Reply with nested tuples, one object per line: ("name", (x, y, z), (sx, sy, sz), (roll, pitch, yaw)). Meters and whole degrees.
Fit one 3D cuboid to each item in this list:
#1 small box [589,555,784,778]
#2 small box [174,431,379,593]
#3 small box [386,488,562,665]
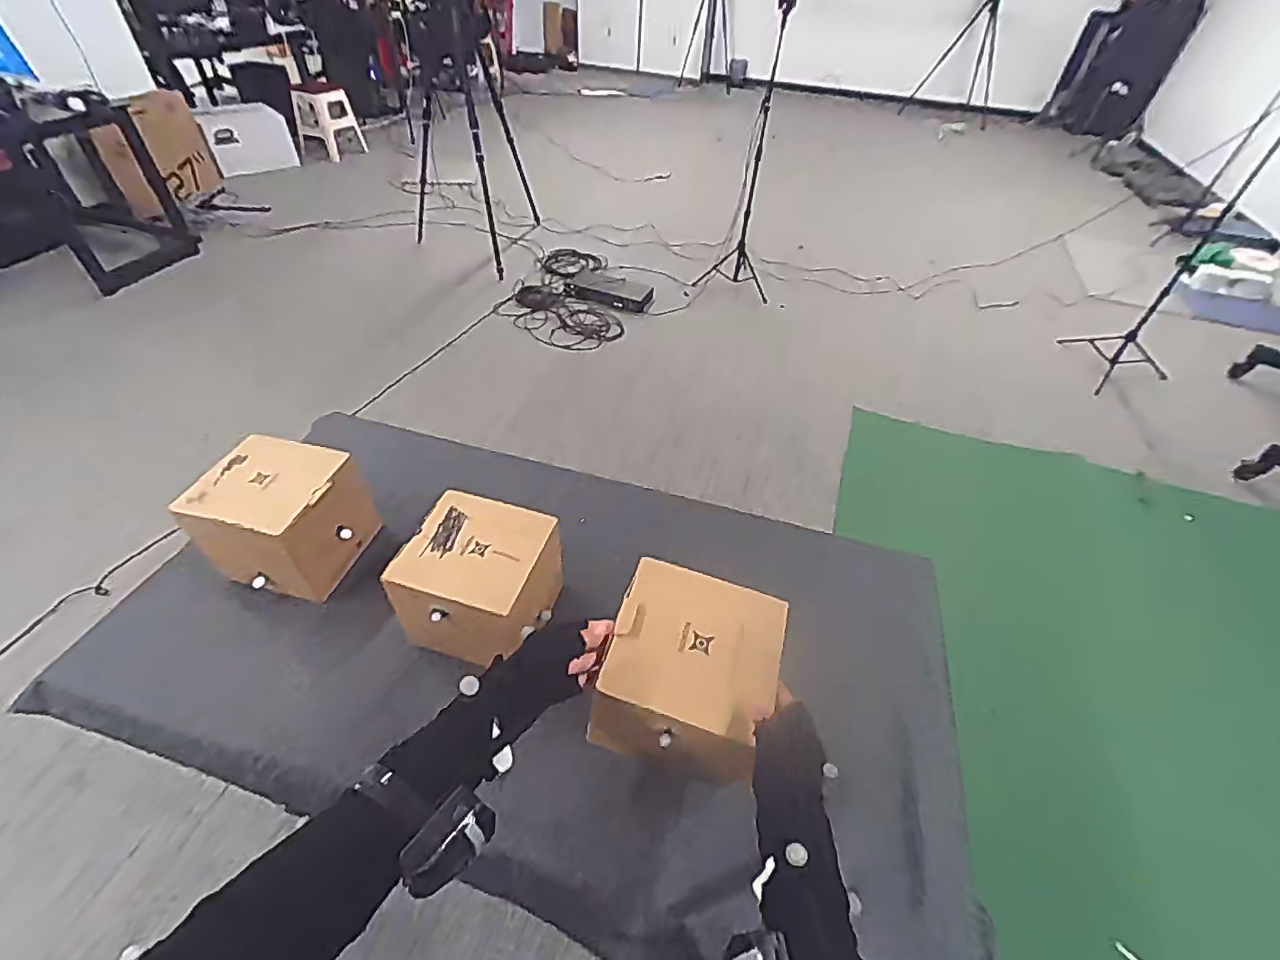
("small box", (0.048, 0.219, 0.626), (0.179, 0.176, 0.168), (18, 50, 5))
("small box", (-0.540, 0.054, 0.839), (0.179, 0.176, 0.168), (13, 46, 6))
("small box", (-0.223, 0.142, 0.780), (0.179, 0.176, 0.168), (14, 46, 8))
